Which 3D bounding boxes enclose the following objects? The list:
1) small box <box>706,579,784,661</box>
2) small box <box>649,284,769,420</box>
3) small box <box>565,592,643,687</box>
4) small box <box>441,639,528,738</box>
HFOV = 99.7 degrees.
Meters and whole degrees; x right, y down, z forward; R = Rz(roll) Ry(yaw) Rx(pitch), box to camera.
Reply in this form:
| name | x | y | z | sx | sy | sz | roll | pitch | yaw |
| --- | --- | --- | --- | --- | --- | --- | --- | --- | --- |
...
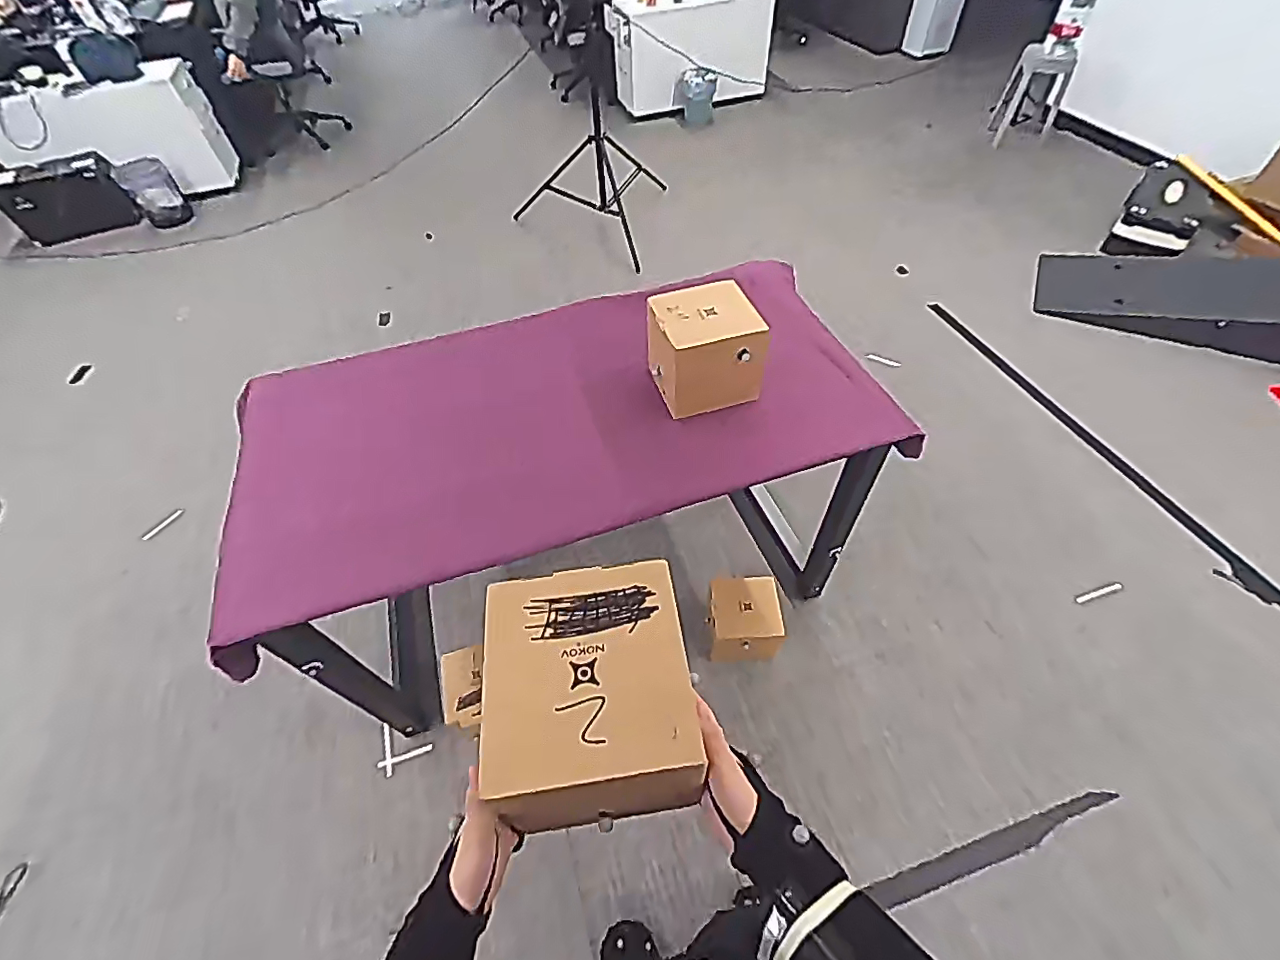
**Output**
| name | x | y | z | sx | sy | sz | roll | pitch | yaw |
| --- | --- | --- | --- | --- | --- | --- | --- | --- | --- |
| small box | 0.277 | 0.381 | 1.462 | 0.179 | 0.176 | 0.168 | -4 | 53 | 2 |
| small box | 0.122 | -0.241 | 1.027 | 0.179 | 0.176 | 0.168 | -15 | 52 | -8 |
| small box | -0.093 | 0.432 | 1.441 | 0.168 | 0.176 | 0.179 | -14 | 52 | -9 |
| small box | -0.392 | 0.537 | 1.373 | 0.168 | 0.176 | 0.179 | -15 | 52 | -9 |
